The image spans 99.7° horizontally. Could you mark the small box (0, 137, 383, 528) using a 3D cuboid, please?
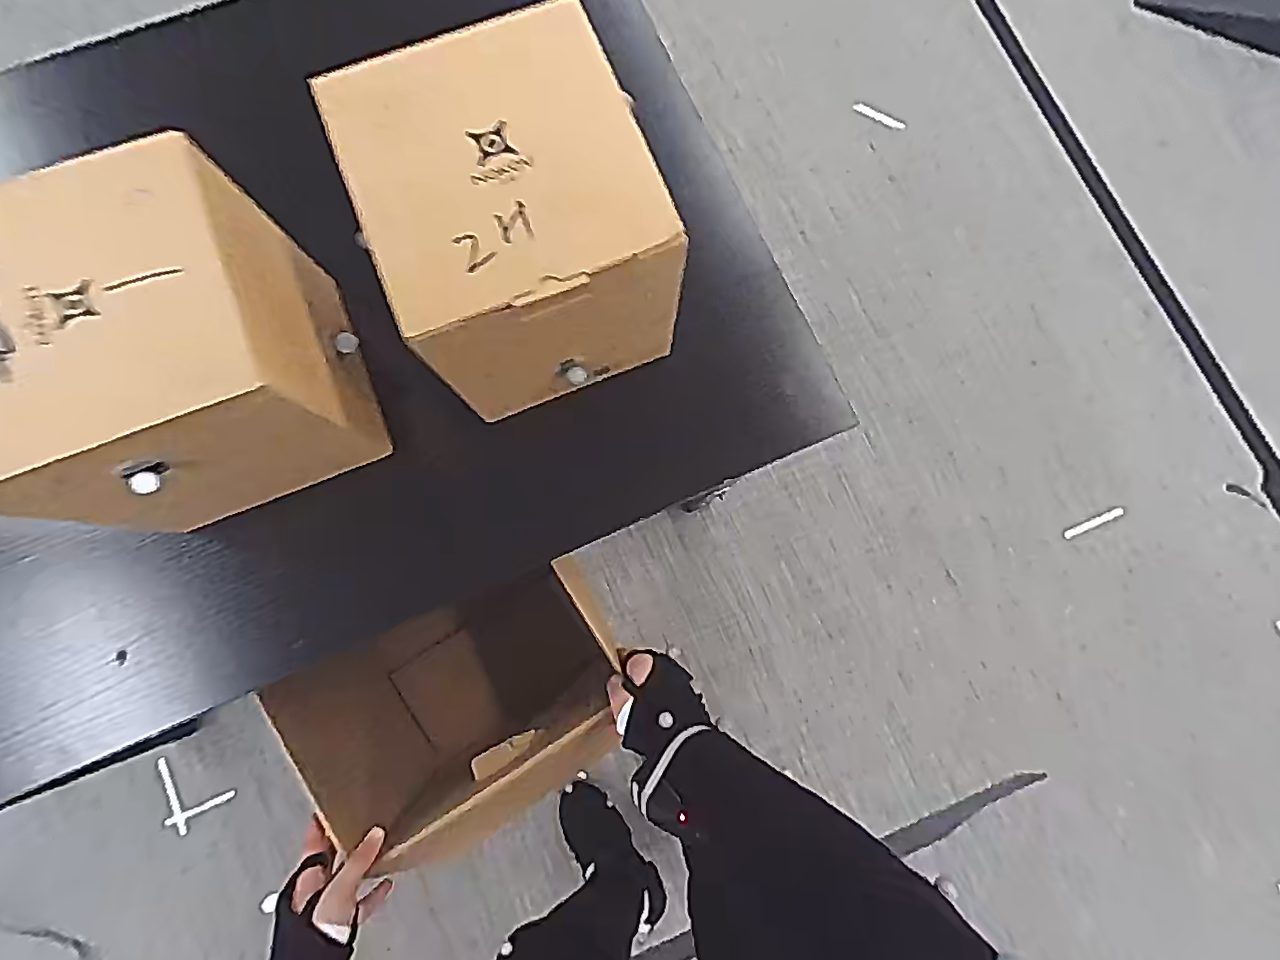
[{"bbox_3d":[-0.312,-0.075,0.364,0.179,0.176,0.168,-22,82,-5],"label":"small box"}]

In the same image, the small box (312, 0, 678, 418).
[{"bbox_3d":[-0.085,-0.168,0.384,0.168,0.176,0.179,-22,82,-3],"label":"small box"}]
